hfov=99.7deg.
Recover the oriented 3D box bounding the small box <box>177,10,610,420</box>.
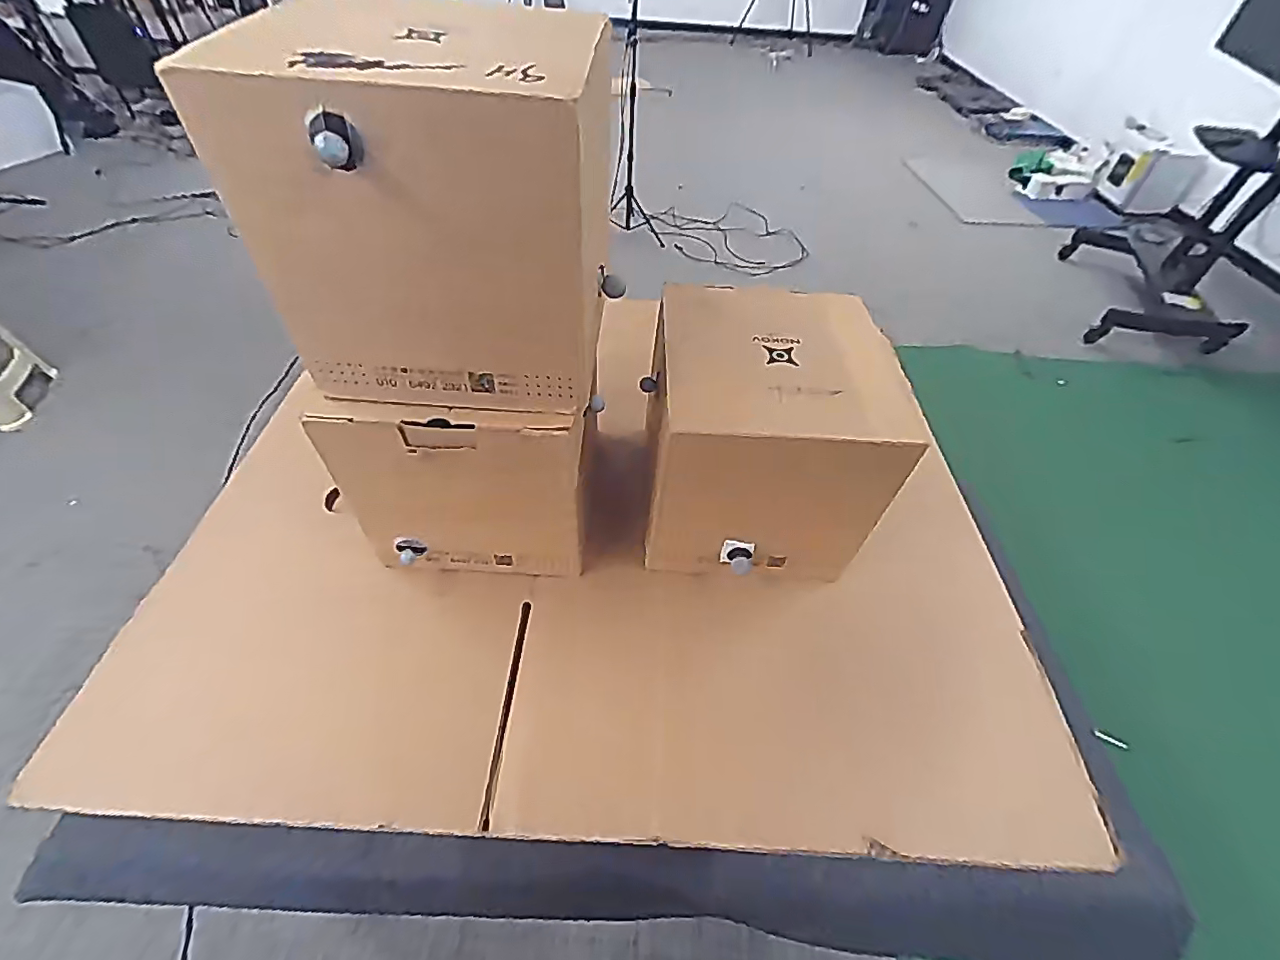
[{"bbox_3d":[-0.109,-0.161,0.335,0.168,0.176,0.179,4,48,0],"label":"small box"}]
